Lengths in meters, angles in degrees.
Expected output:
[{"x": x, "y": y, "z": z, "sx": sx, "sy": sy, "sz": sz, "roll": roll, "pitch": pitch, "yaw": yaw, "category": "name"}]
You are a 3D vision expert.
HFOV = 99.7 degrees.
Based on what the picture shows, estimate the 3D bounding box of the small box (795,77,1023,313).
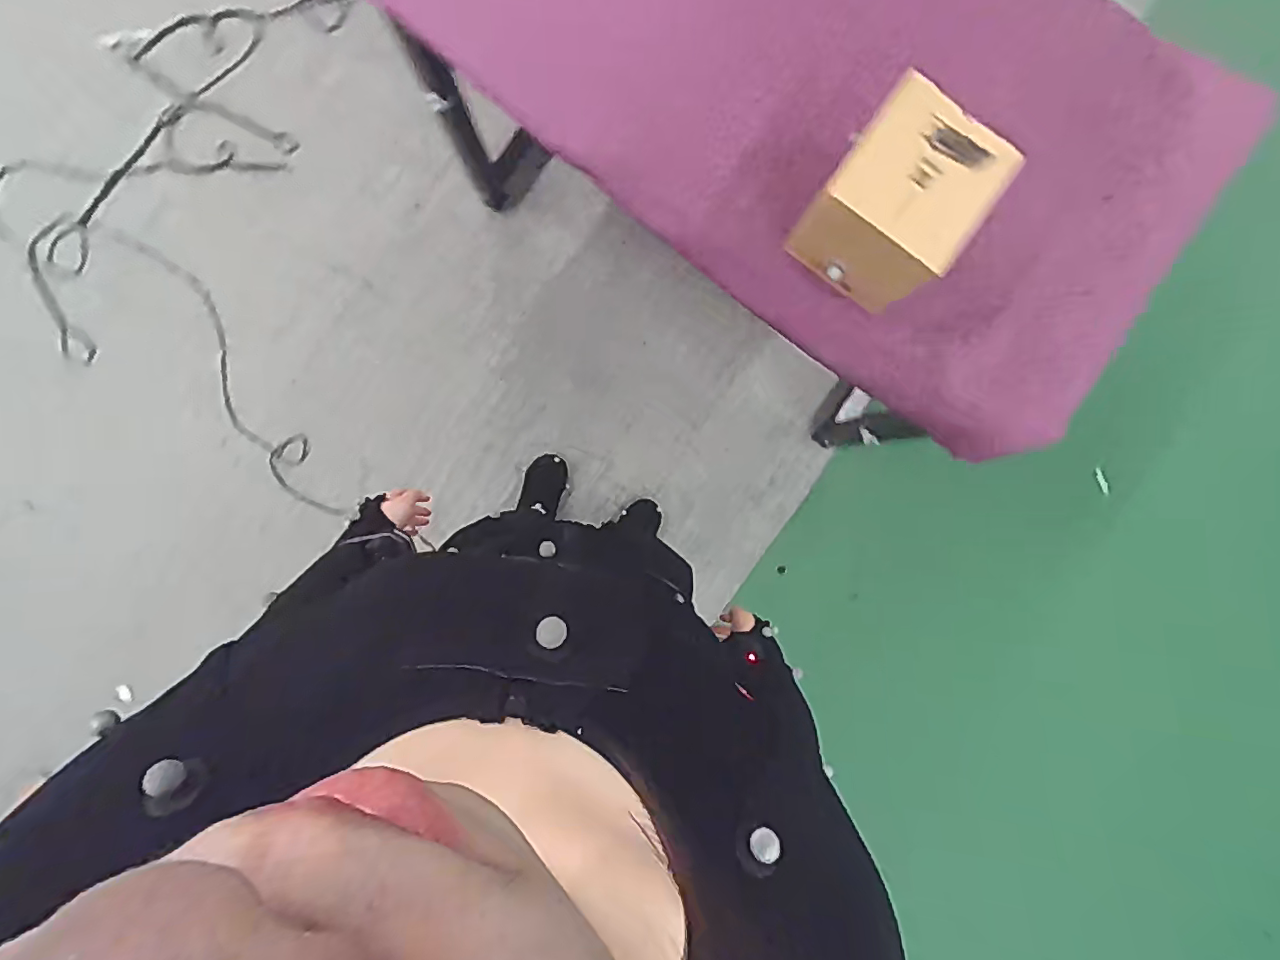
[{"x": 0.331, "y": -0.352, "z": 0.706, "sx": 0.168, "sy": 0.176, "sz": 0.179, "roll": 36, "pitch": 90, "yaw": -2, "category": "small box"}]
